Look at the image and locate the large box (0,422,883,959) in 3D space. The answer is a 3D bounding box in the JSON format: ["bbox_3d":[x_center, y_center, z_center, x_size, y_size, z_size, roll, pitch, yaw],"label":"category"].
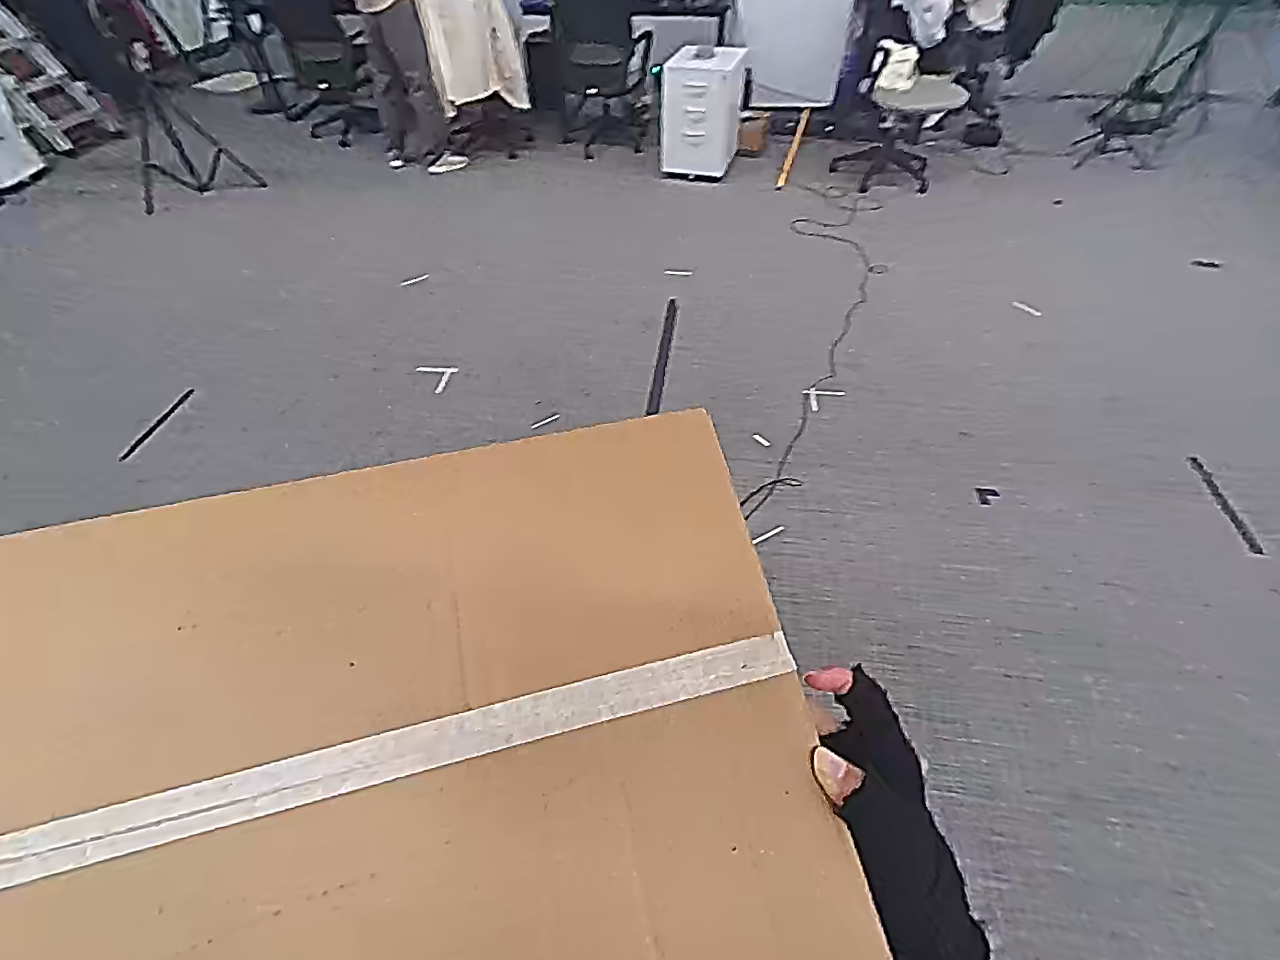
[{"bbox_3d":[-0.123,0.195,0.409,0.408,0.320,0.320,-11,69,-9],"label":"large box"}]
